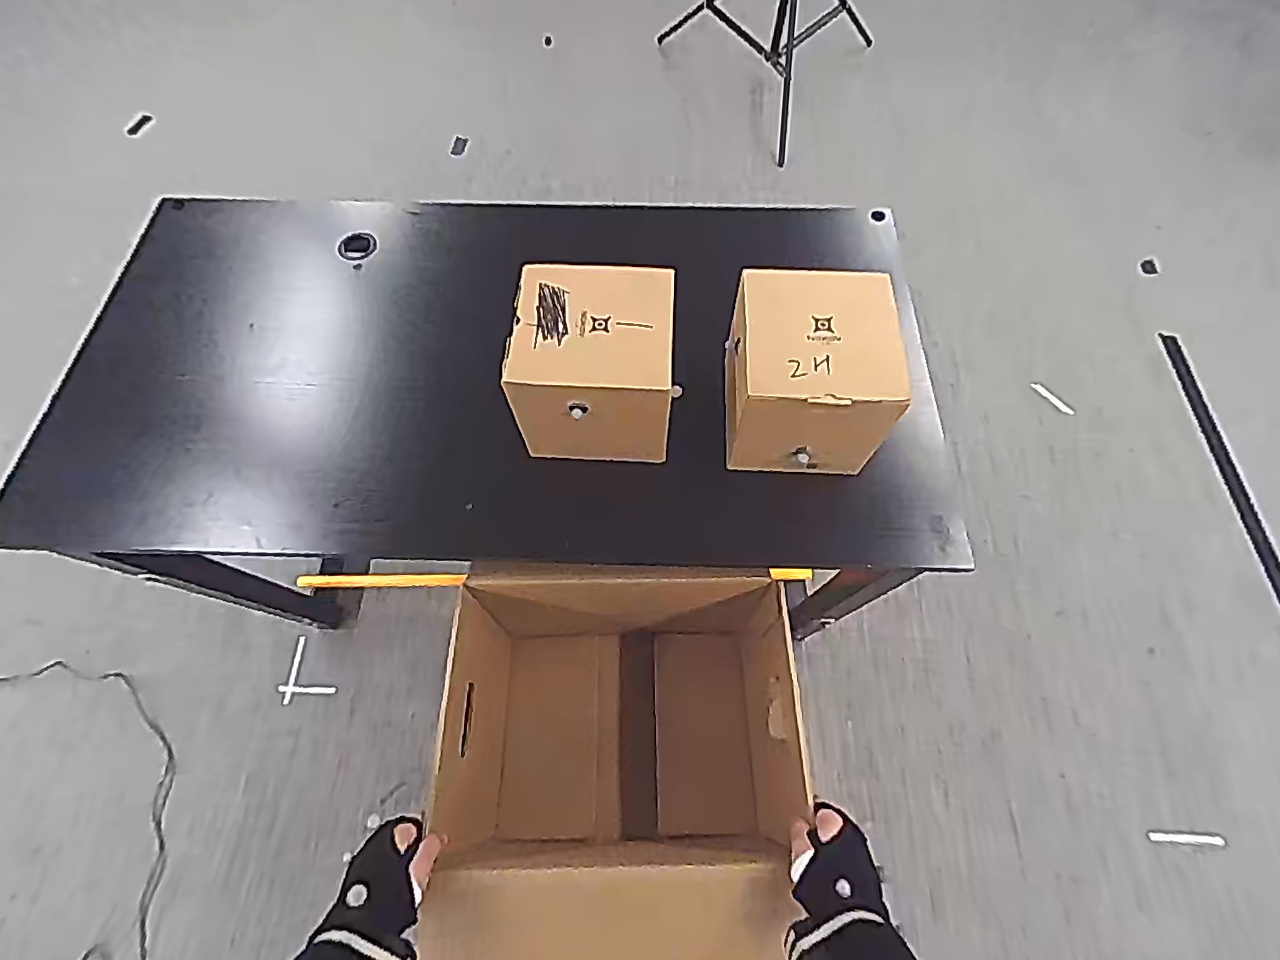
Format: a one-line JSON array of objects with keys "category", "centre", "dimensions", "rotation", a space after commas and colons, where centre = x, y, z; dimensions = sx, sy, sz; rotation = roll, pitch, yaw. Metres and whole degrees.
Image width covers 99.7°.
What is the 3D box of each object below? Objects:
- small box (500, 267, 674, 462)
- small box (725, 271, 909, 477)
[{"category": "small box", "centre": [-0.052, -0.131, 0.654], "dimensions": [0.179, 0.176, 0.168], "rotation": [3, 66, 1]}, {"category": "small box", "centre": [0.193, -0.121, 0.646], "dimensions": [0.168, 0.176, 0.179], "rotation": [2, 65, 3]}]
